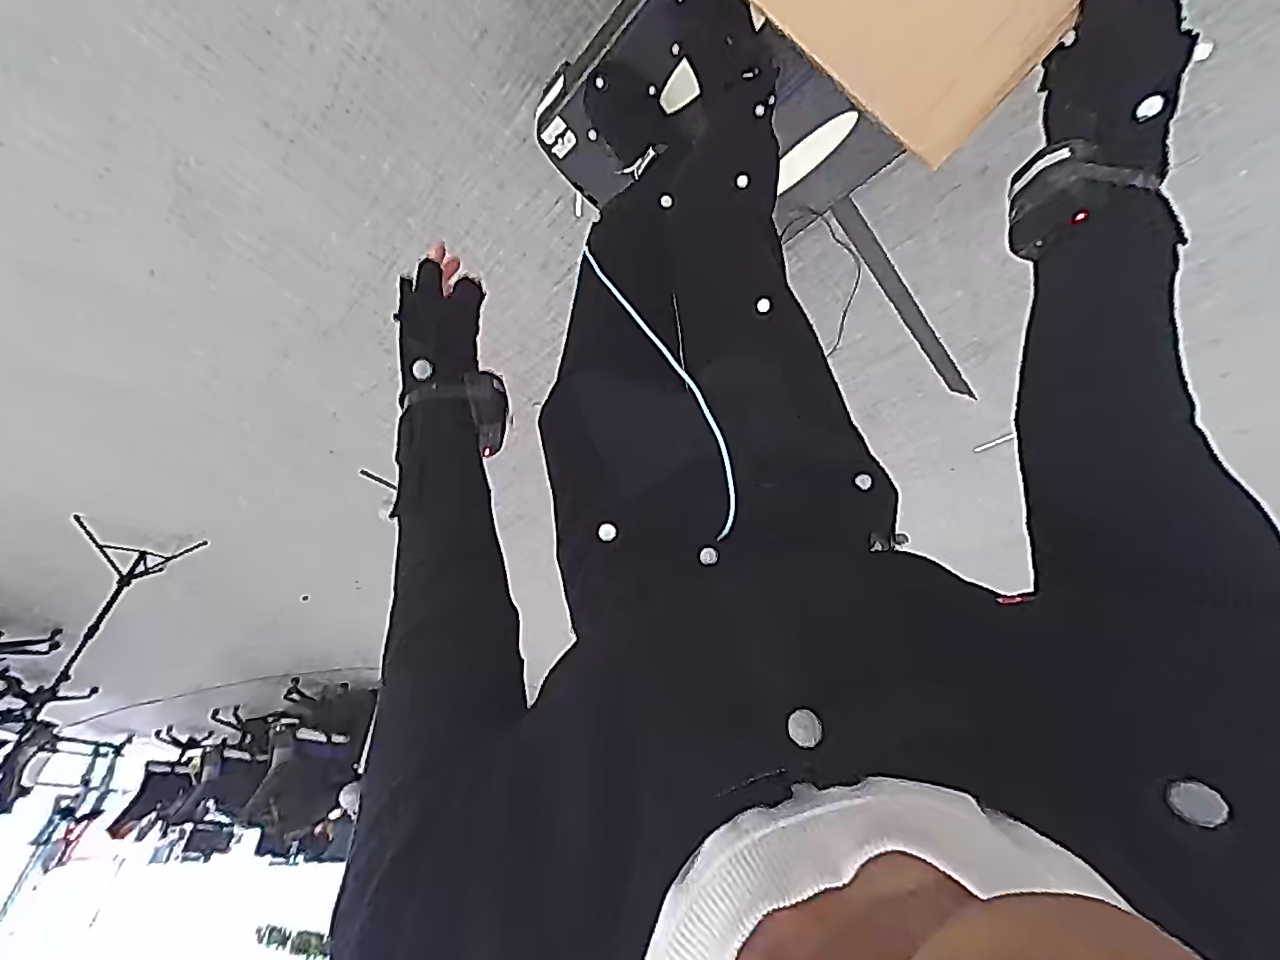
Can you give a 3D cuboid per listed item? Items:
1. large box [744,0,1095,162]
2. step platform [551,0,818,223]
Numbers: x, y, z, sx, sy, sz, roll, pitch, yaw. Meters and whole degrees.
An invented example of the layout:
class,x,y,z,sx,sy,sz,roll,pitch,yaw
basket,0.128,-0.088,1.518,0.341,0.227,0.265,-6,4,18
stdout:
class,x,y,z,sx,sy,sz,roll,pitch,yaw
large box,0.259,-0.570,0.504,0.408,0.320,0.320,43,129,-1
step platform,0.148,-0.787,0.927,0.286,0.204,0.684,31,133,-33
